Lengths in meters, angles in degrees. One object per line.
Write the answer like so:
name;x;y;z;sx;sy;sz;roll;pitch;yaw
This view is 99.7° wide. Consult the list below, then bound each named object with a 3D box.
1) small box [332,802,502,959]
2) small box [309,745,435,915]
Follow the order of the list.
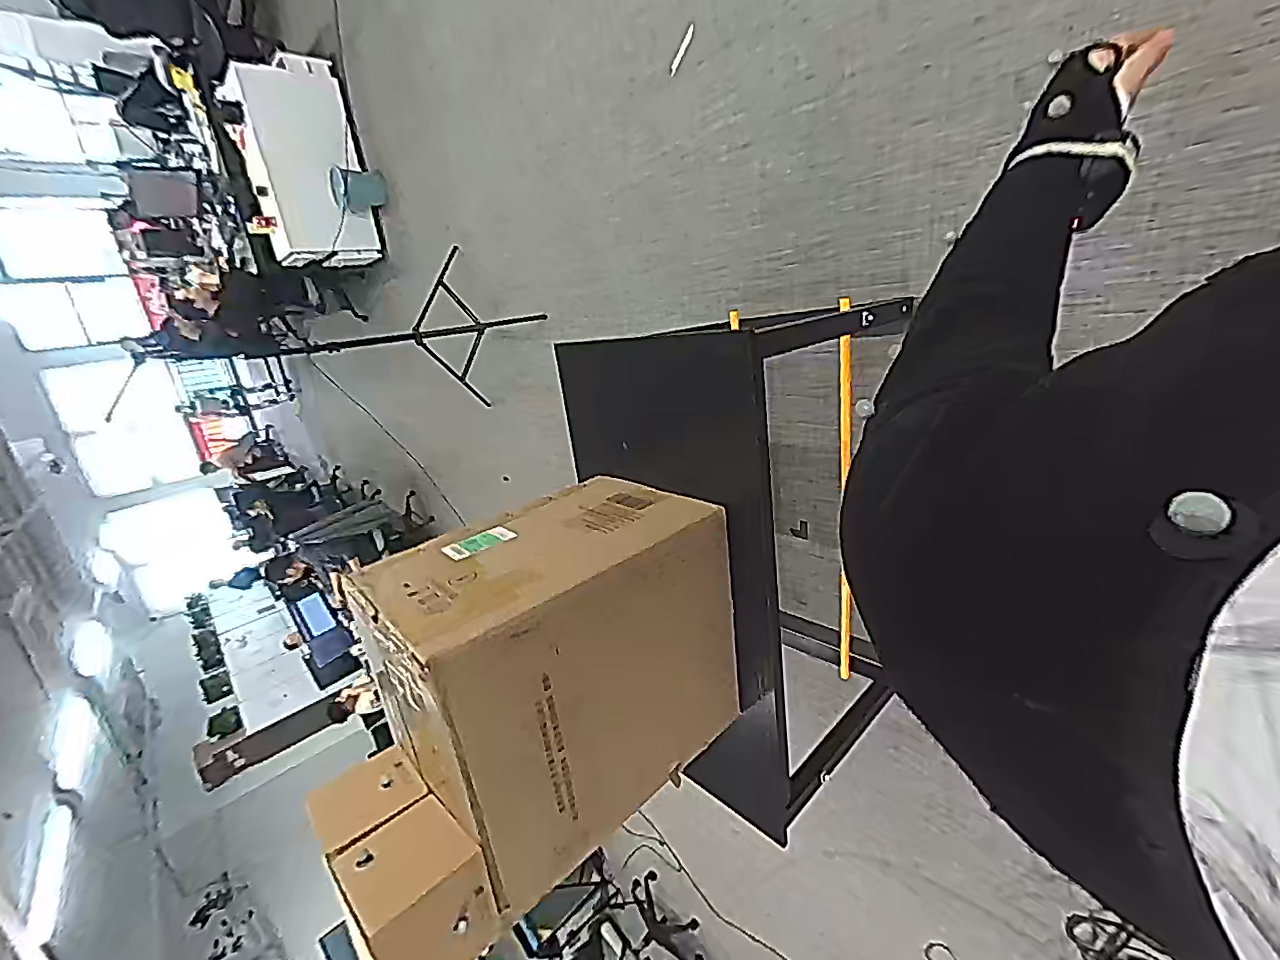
small box;-0.337;0.637;0.824;0.179;0.176;0.168;6;110;45
small box;-0.457;0.621;0.960;0.168;0.176;0.179;14;116;48
